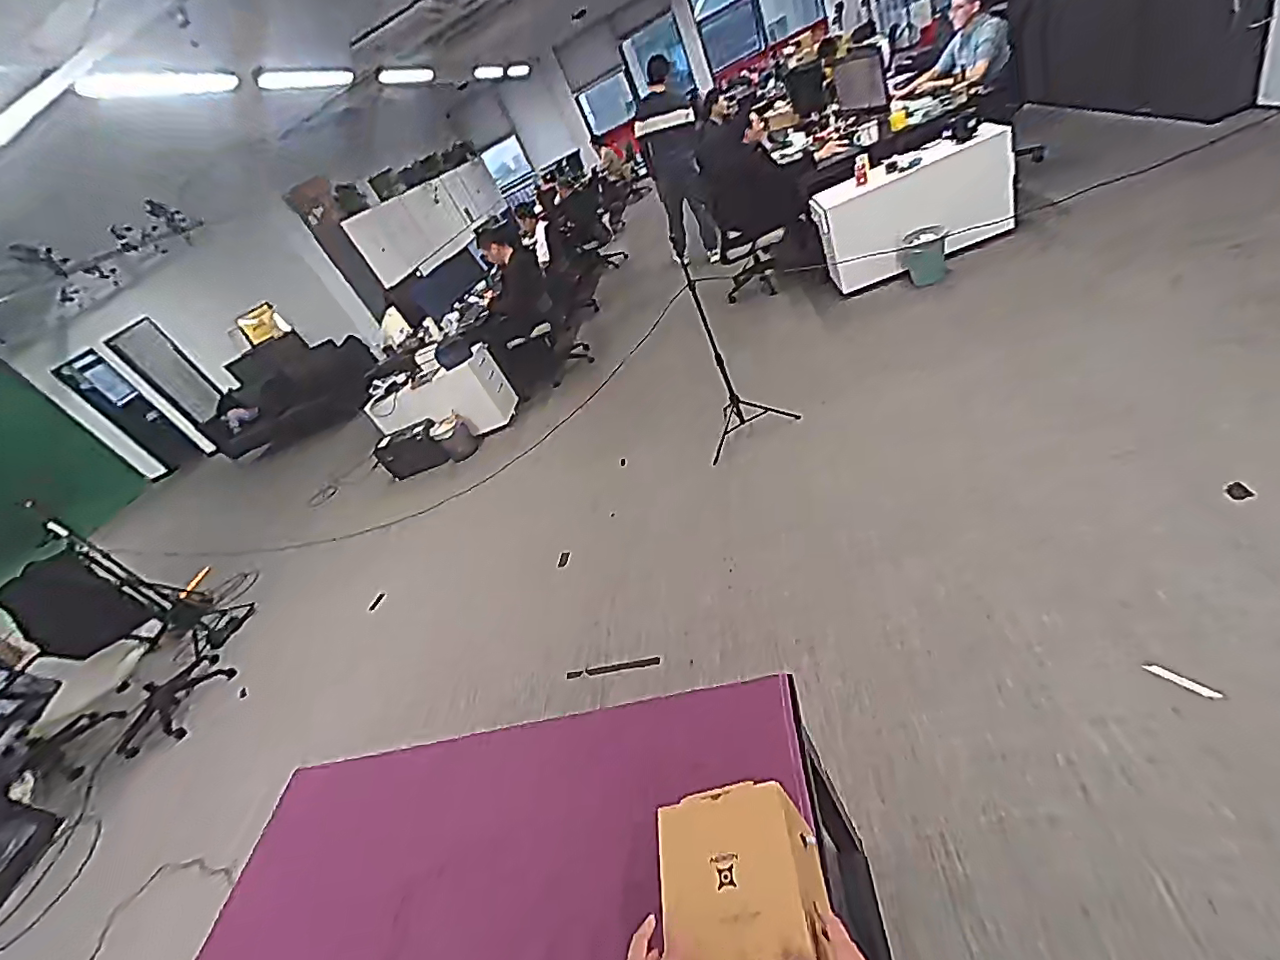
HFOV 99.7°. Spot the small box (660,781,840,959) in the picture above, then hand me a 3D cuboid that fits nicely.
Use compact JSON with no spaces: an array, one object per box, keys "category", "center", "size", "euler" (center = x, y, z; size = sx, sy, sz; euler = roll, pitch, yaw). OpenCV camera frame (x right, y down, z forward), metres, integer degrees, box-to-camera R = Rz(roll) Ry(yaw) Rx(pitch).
[{"category":"small box","center":[0.132,0.512,0.669],"size":[0.168,0.176,0.179],"euler":[-22,33,15]}]
